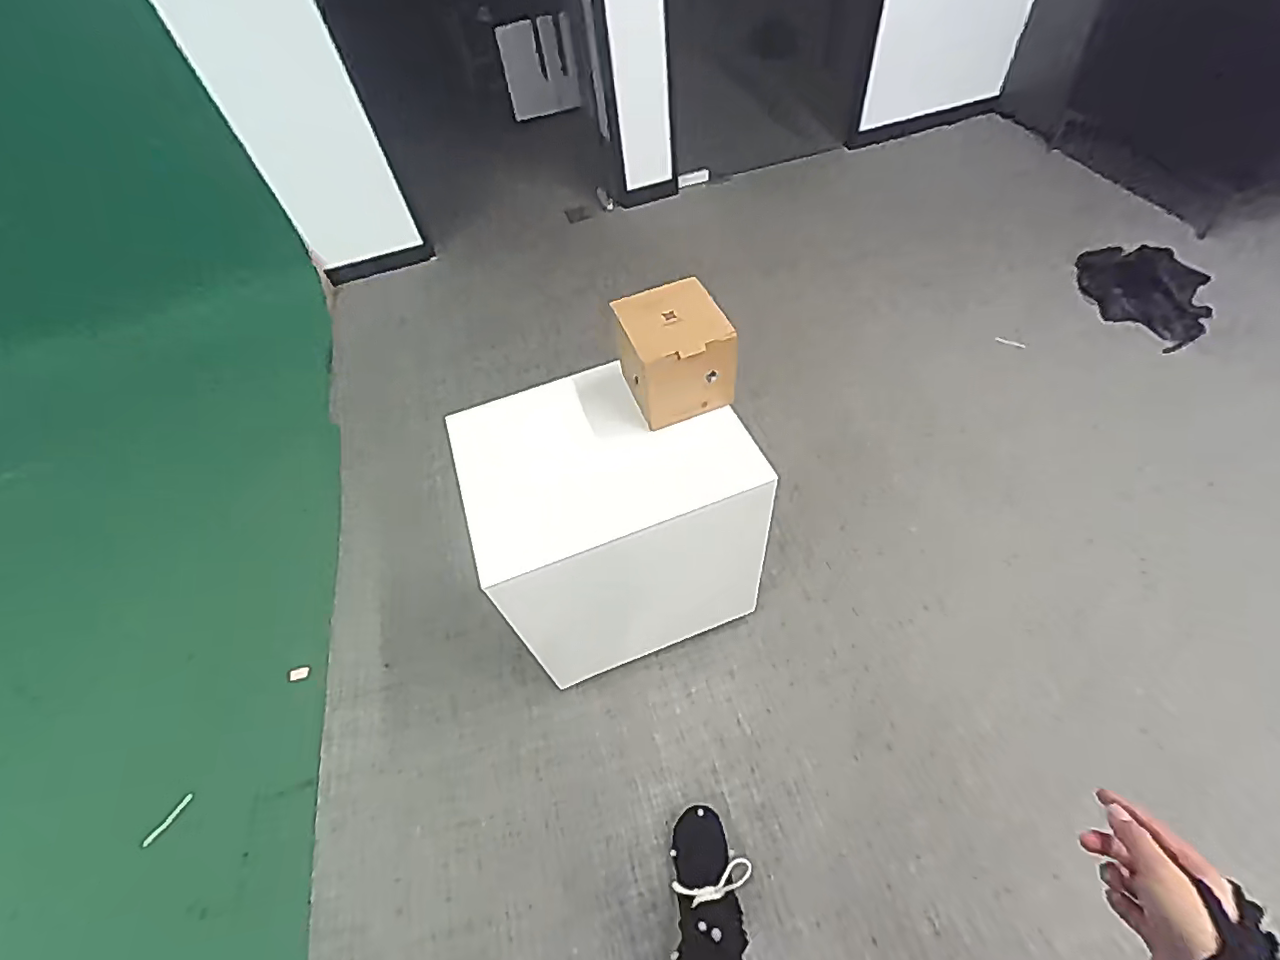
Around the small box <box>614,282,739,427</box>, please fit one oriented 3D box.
[{"bbox_3d":[0.066,-0.216,0.969,0.168,0.176,0.179,-19,53,-7],"label":"small box"}]
